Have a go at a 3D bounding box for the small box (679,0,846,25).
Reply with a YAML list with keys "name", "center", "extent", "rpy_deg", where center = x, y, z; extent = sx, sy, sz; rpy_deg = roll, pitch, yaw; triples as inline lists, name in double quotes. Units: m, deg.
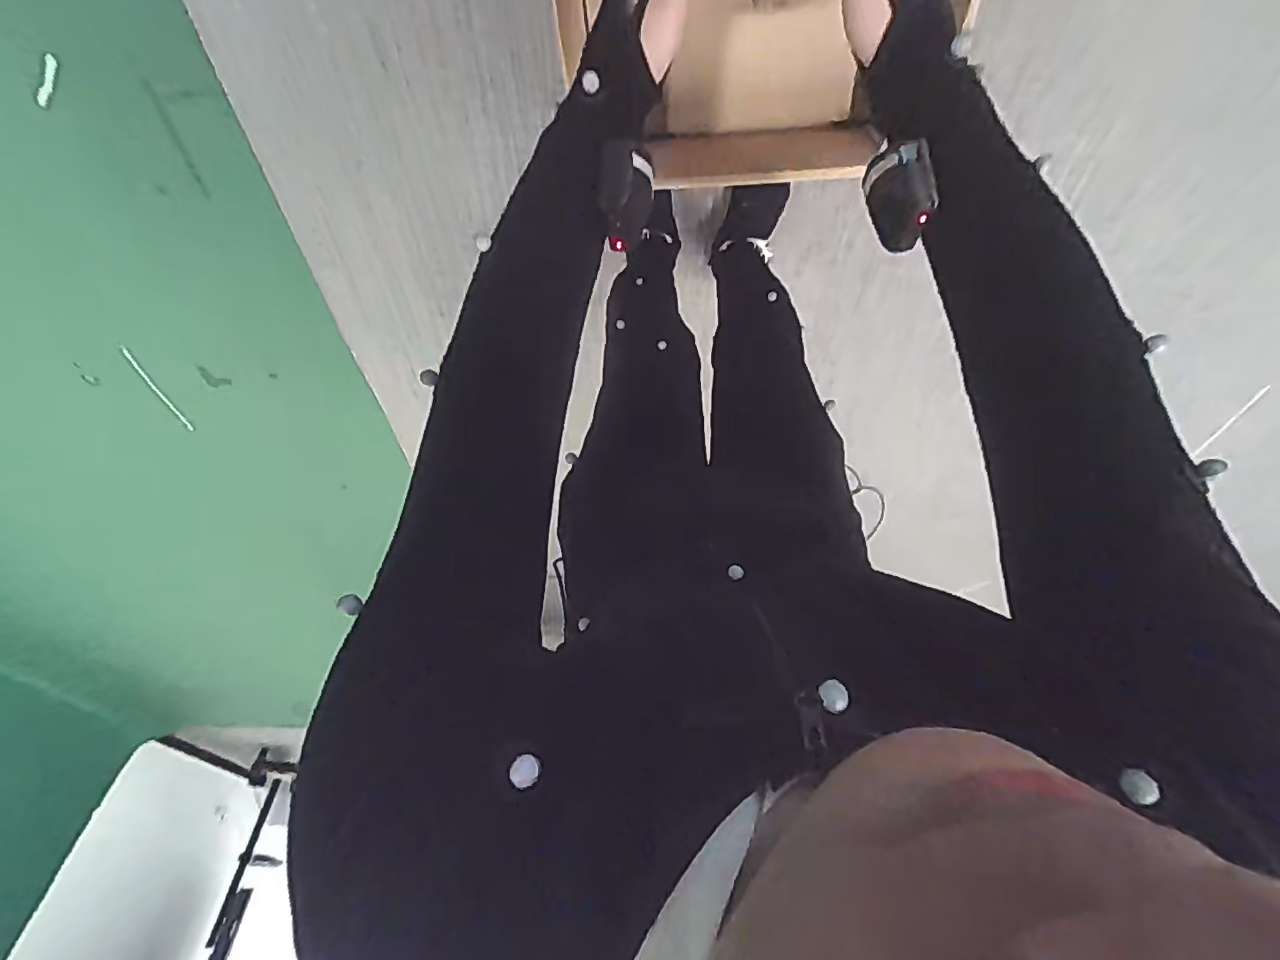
- name: "small box"
  center: [0.110, -0.514, 0.432]
  extent: [0.168, 0.176, 0.179]
  rpy_deg: [0, 107, 6]
